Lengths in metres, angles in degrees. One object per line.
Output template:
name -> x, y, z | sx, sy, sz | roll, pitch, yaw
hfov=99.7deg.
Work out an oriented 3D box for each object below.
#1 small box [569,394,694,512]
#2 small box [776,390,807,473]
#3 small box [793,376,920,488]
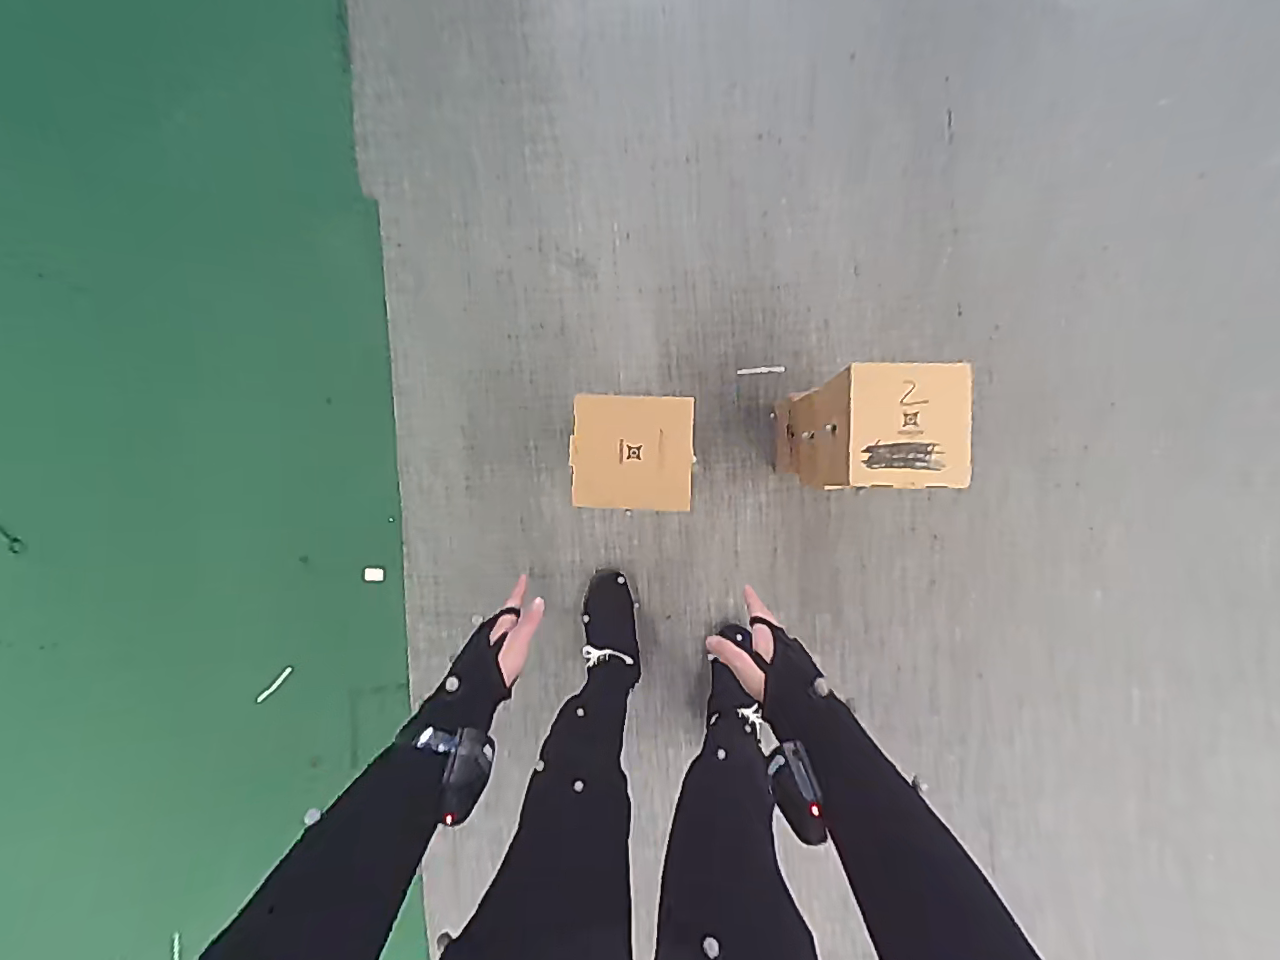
small box -> -0.008, -0.040, 0.851 | 0.179, 0.176, 0.168 | 2, 91, 3
small box -> 0.391, -0.100, 1.152 | 0.179, 0.176, 0.168 | -3, 91, 3
small box -> 0.387, -0.083, 0.990 | 0.168, 0.176, 0.179 | -7, 90, 3
